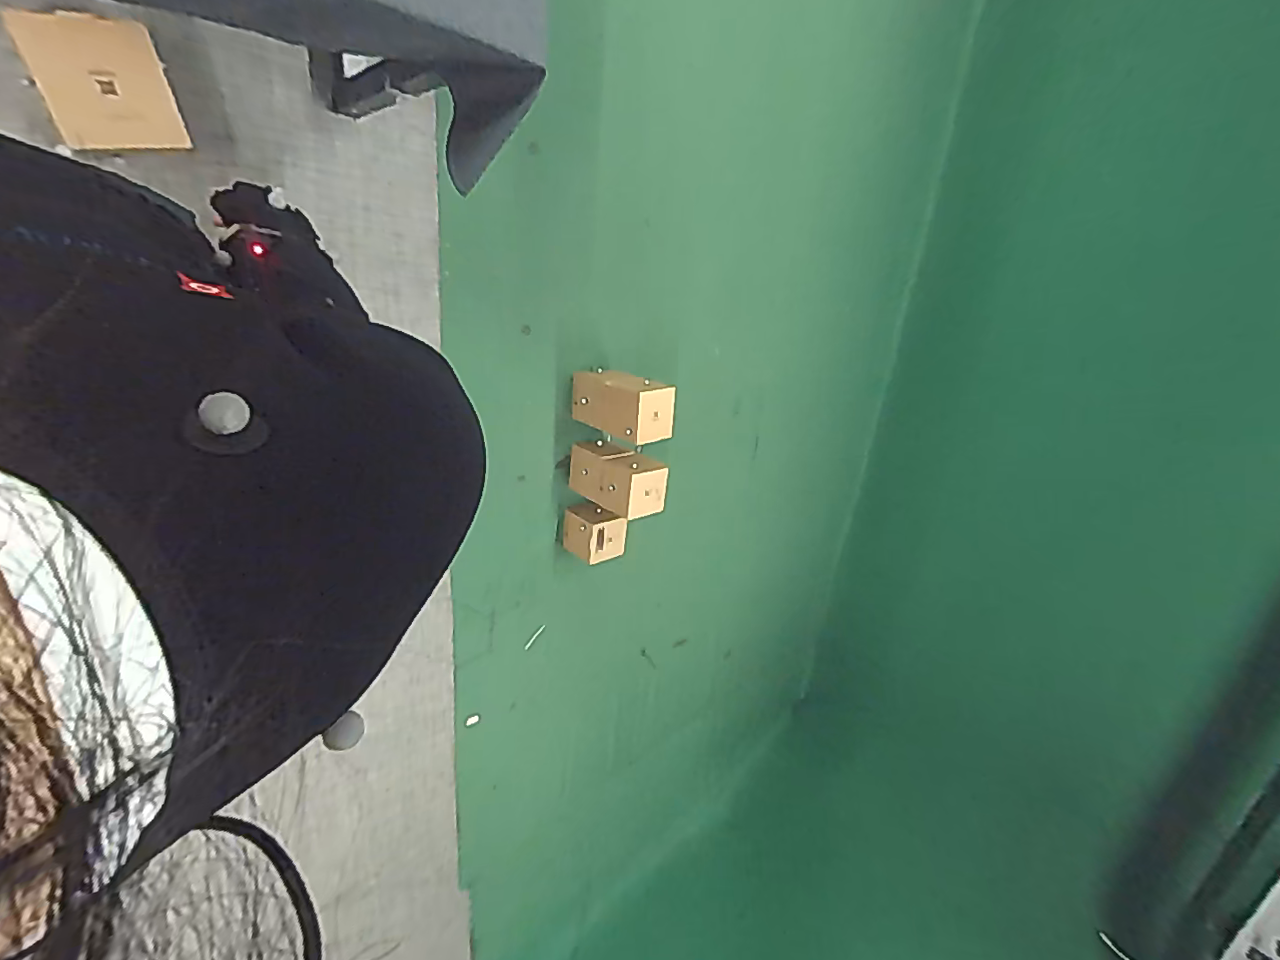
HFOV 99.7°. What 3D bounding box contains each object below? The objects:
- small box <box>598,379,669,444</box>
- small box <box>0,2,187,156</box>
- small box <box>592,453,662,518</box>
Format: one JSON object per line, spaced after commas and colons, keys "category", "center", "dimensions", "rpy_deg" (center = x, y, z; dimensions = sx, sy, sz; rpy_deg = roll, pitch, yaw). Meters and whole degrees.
{"category": "small box", "center": [-0.024, -0.234, 1.798], "dimensions": [0.168, 0.176, 0.179], "rpy_deg": [-17, 121, -42]}
{"category": "small box", "center": [-0.905, -0.652, 0.902], "dimensions": [0.168, 0.176, 0.179], "rpy_deg": [-27, 126, -36]}
{"category": "small box", "center": [-0.049, 0.015, 1.892], "dimensions": [0.179, 0.176, 0.168], "rpy_deg": [-13, 118, -43]}
